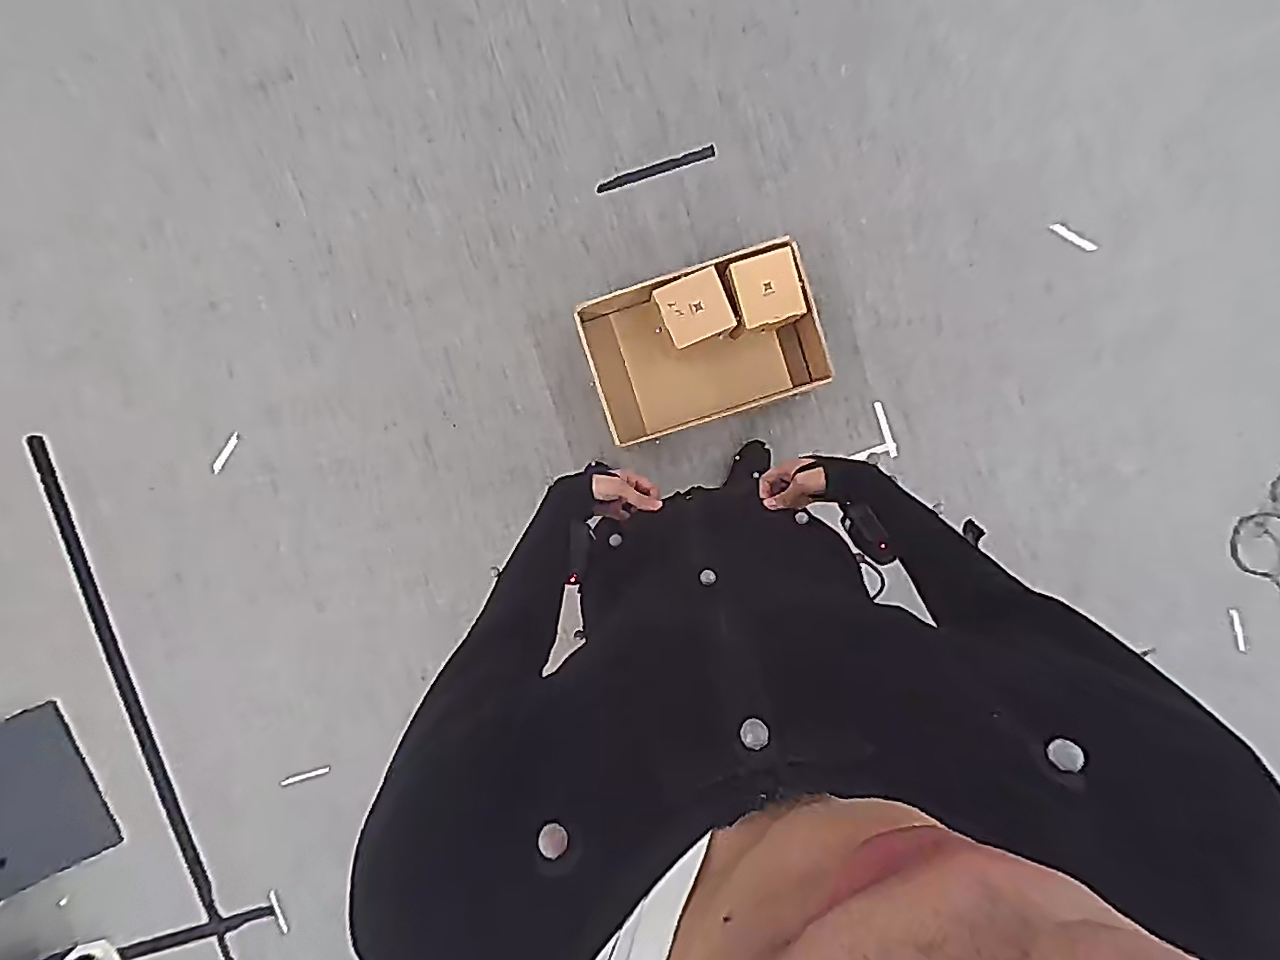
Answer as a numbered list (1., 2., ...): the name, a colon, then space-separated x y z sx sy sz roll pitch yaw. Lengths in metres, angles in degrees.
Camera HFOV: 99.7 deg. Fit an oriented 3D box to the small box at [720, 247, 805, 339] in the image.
1. small box: 0.328 -0.504 1.479 0.168 0.176 0.179 -17 96 1
